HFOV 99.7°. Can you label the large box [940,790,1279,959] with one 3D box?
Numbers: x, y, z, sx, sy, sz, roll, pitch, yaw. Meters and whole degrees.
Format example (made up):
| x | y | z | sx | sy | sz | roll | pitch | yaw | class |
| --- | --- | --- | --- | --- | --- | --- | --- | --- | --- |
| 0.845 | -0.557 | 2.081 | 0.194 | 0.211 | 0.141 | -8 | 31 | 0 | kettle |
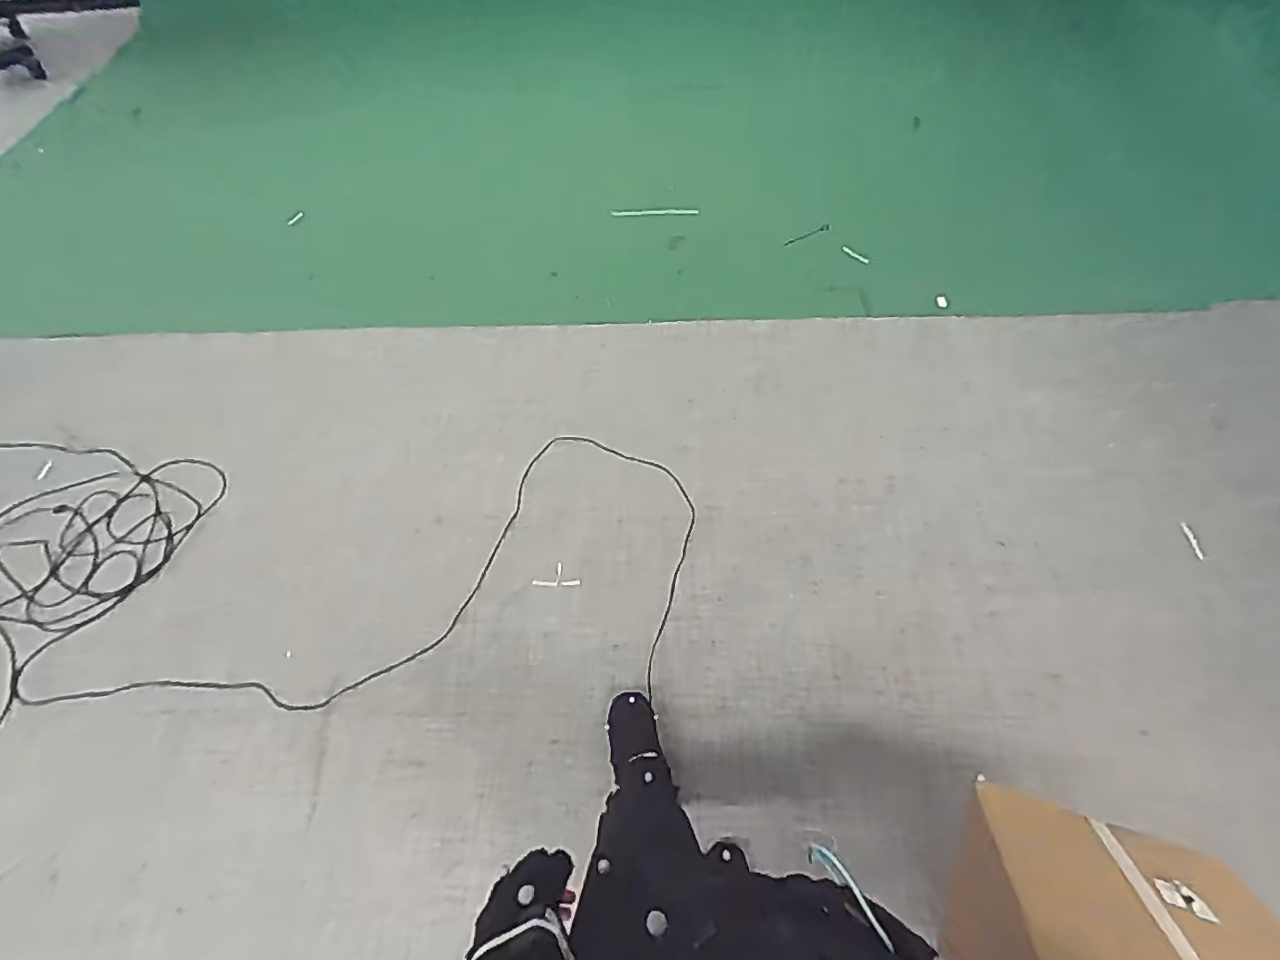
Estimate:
| x | y | z | sx | sy | sz | roll | pitch | yaw | class |
| --- | --- | --- | --- | --- | --- | --- | --- | --- | --- |
| 0.572 | 0.663 | 0.625 | 0.320 | 0.408 | 0.320 | 12 | 95 | 21 | large box |
